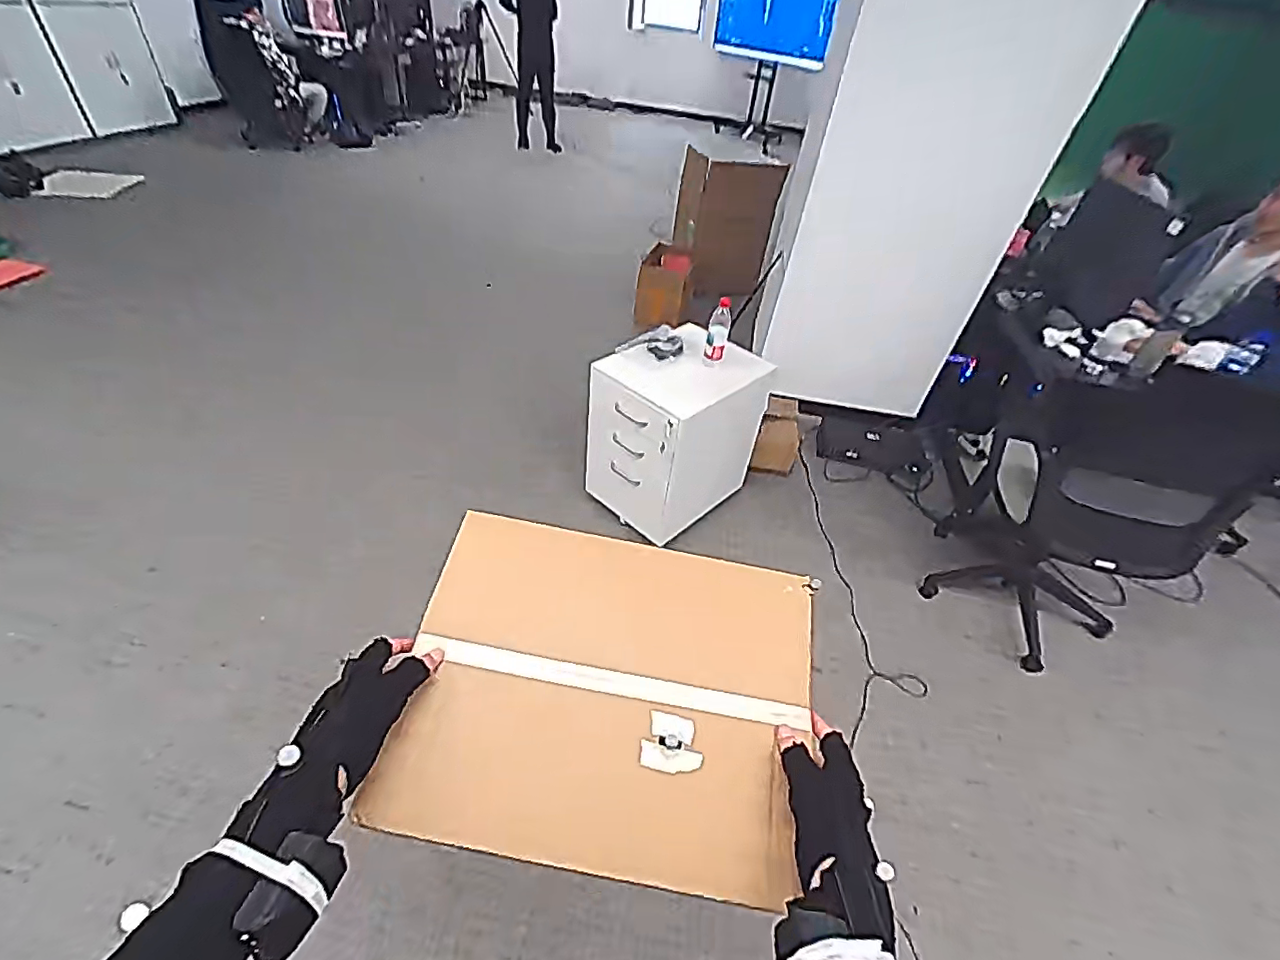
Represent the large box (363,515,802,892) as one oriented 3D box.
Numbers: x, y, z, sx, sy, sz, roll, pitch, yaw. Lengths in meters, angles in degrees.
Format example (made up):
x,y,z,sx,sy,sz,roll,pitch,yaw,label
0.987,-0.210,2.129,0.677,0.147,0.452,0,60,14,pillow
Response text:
x,y,z,sx,sy,sz,roll,pitch,yaw,label
-0.045,0.280,0.681,0.408,0.320,0.320,11,58,0,large box
